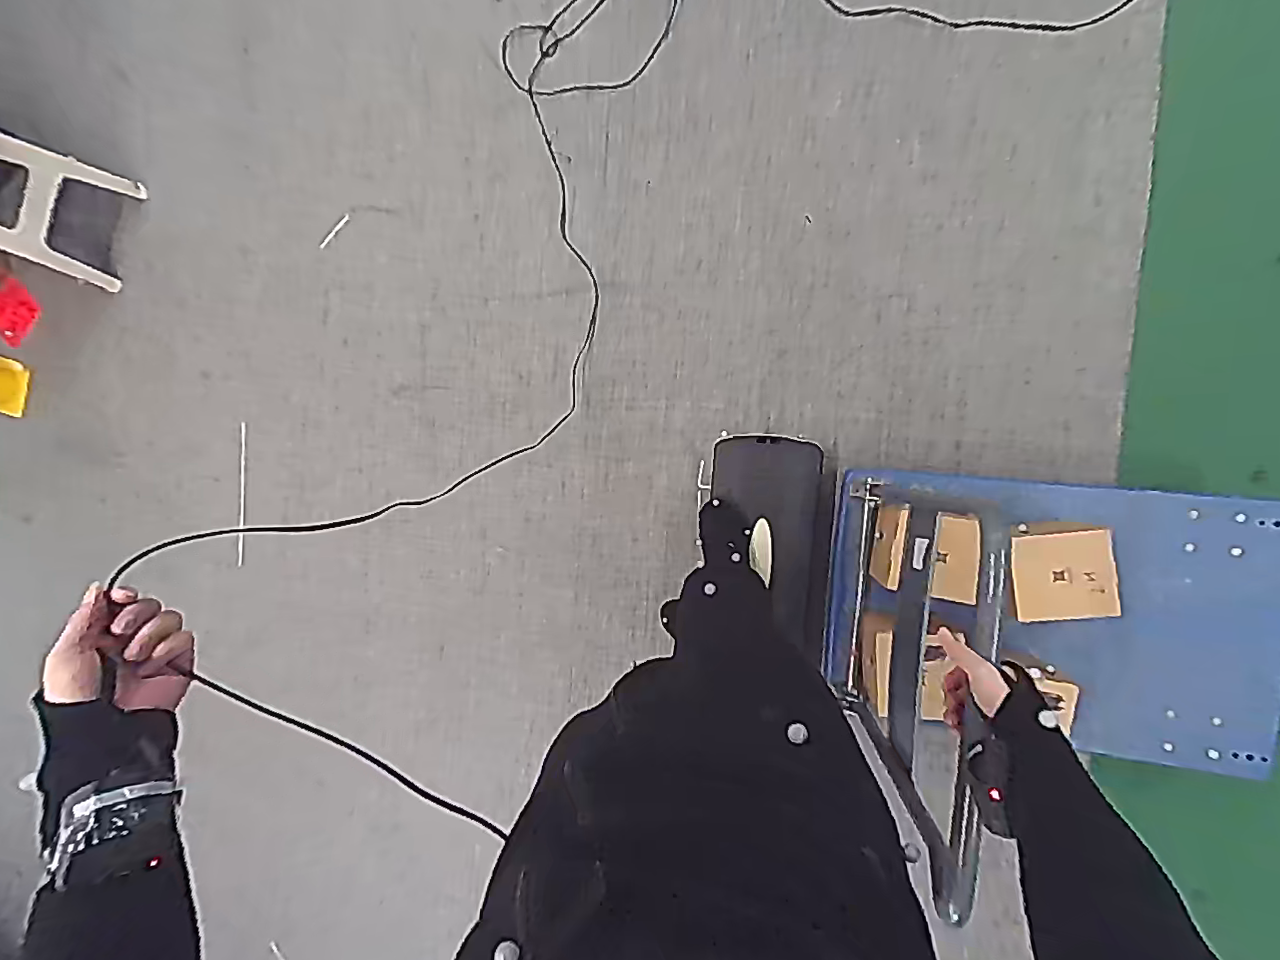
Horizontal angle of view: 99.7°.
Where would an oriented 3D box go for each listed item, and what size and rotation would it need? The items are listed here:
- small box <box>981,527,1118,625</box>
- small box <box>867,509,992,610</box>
[{"bbox_3d":[0.809,0.189,1.096,0.179,0.176,0.168,-7,90,12],"label":"small box"},{"bbox_3d":[0.601,0.158,1.143,0.179,0.176,0.168,10,93,12],"label":"small box"}]
